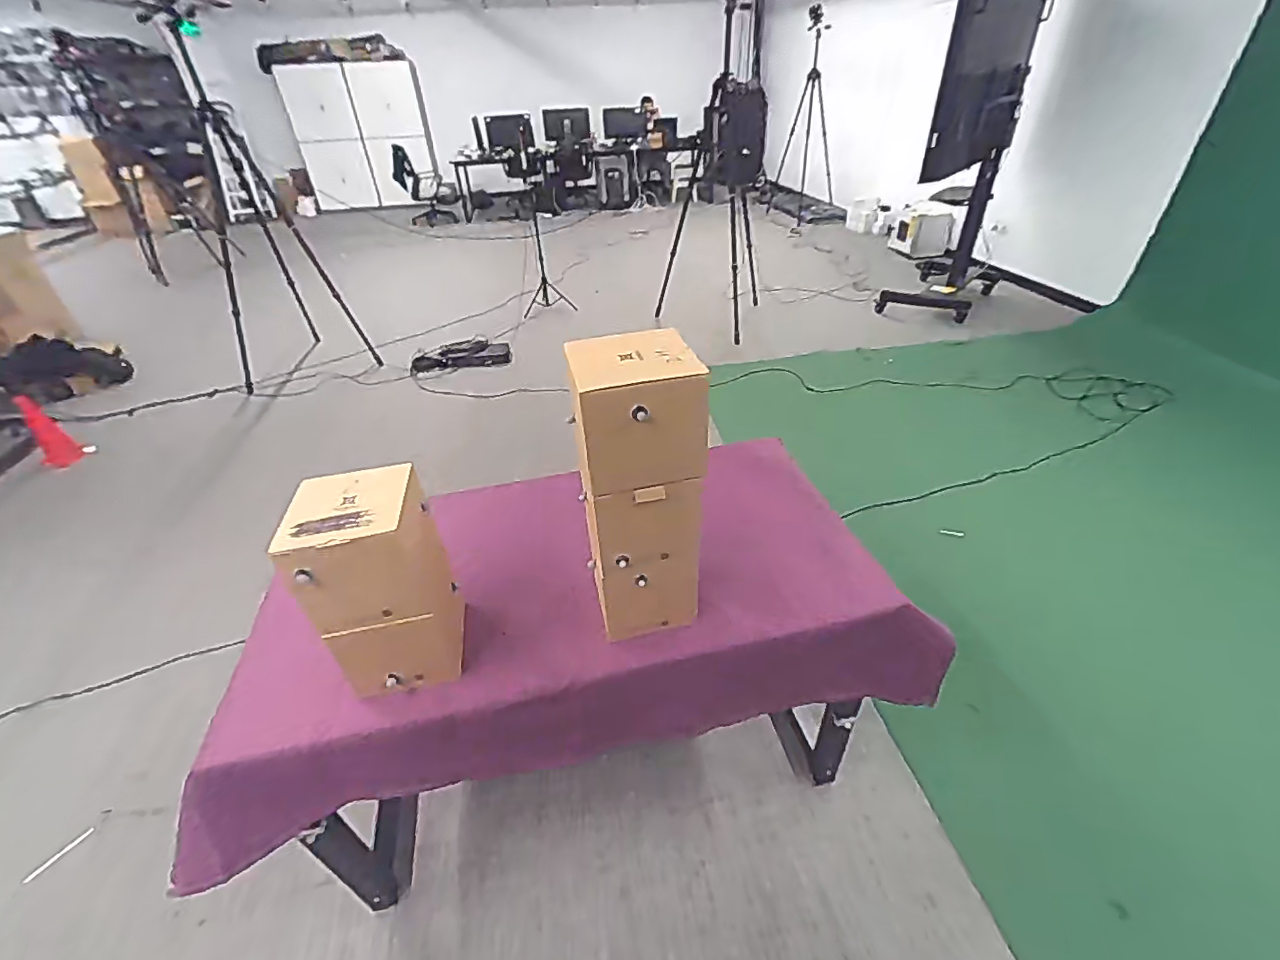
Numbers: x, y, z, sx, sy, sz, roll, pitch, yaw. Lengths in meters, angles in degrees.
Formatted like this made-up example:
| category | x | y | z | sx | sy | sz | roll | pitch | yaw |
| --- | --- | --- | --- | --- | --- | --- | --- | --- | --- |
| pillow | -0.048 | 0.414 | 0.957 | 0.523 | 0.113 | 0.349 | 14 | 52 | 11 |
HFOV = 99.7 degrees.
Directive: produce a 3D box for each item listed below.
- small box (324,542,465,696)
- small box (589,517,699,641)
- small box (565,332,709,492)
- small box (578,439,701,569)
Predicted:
| category | x | y | z | sx | sy | sz | roll | pitch | yaw |
| --- | --- | --- | --- | --- | --- | --- | --- | --- | --- |
| small box | -0.404 | 0.236 | 0.927 | 0.168 | 0.176 | 0.179 | -10 | 38 | -8 |
| small box | 0.005 | 0.162 | 0.993 | 0.168 | 0.176 | 0.179 | -11 | 37 | -8 |
| small box | -0.006 | -0.099 | 0.793 | 0.179 | 0.176 | 0.168 | -9 | 38 | -9 |
| small box | -0.001 | 0.030 | 0.896 | 0.168 | 0.176 | 0.179 | -10 | 37 | -9 |
